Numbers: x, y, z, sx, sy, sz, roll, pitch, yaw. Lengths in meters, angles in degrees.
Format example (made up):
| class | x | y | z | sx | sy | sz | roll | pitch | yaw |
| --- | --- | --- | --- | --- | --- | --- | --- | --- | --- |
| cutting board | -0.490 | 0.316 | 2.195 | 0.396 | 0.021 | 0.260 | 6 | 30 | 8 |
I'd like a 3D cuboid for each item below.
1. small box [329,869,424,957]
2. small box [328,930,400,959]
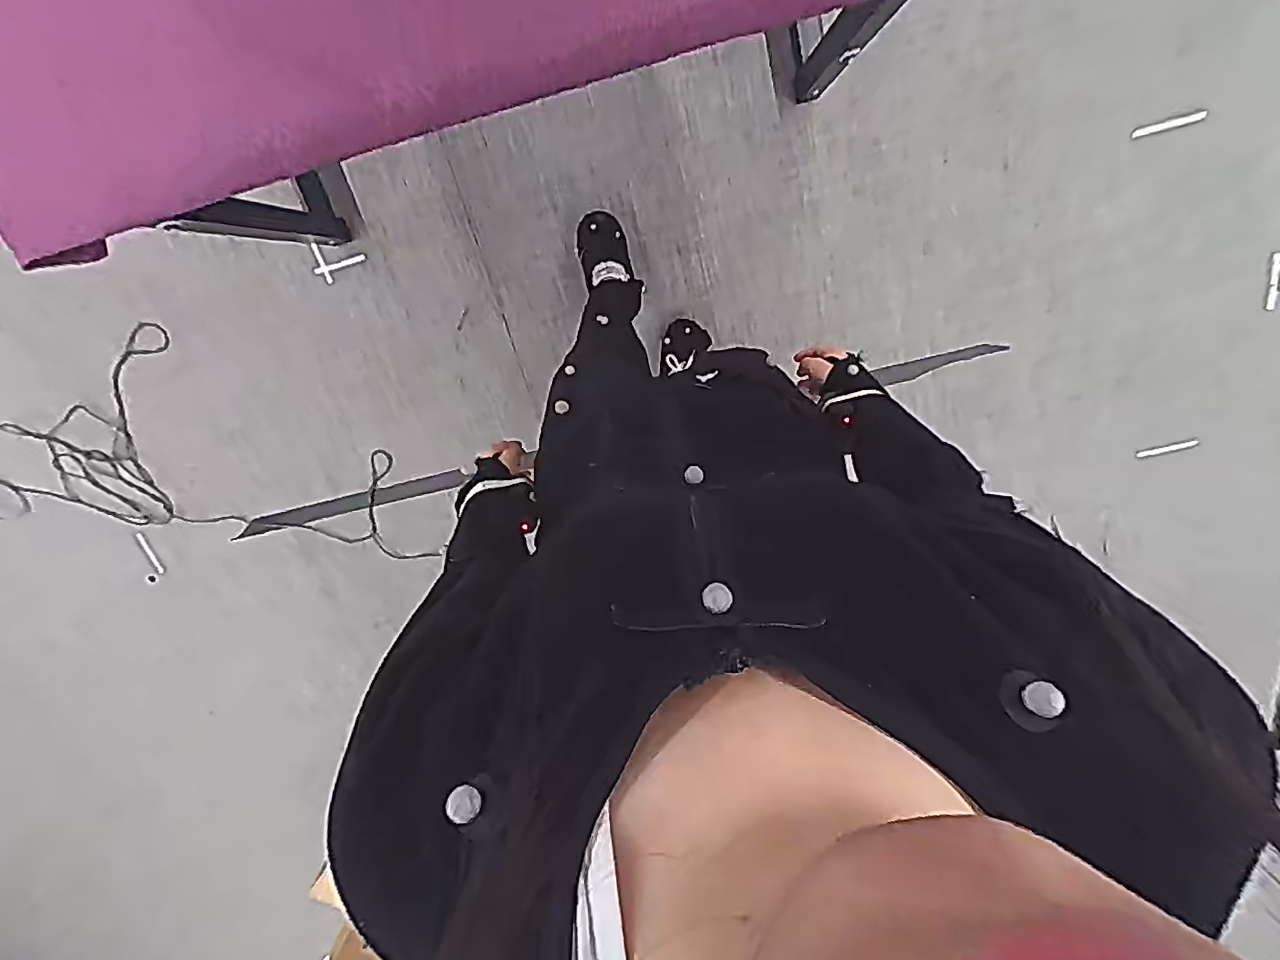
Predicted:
| class | x | y | z | sx | sy | sz | roll | pitch | yaw |
| --- | --- | --- | --- | --- | --- | --- | --- | --- | --- |
| small box | -0.774 | 1.313 | 1.607 | 0.168 | 0.176 | 0.179 | 33 | 107 | -10 |
| small box | -0.779 | 1.372 | 1.453 | 0.168 | 0.176 | 0.179 | 33 | 108 | -11 |
